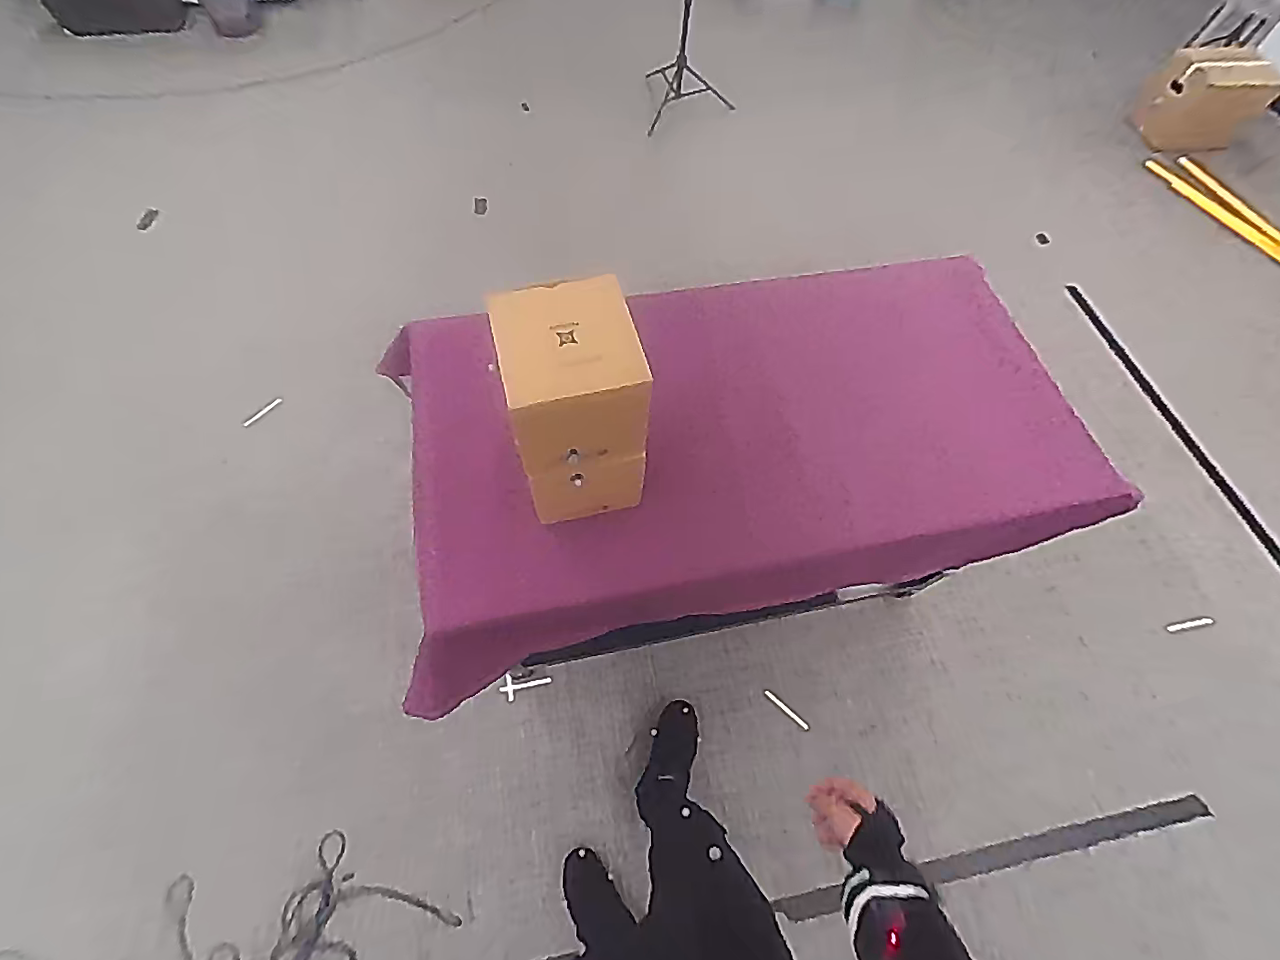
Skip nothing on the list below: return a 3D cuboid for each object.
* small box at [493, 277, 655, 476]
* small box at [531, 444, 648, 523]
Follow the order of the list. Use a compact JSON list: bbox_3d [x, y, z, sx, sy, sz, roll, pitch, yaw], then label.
[{"bbox_3d":[-0.086,-0.129,0.703,0.168,0.176,0.179,-12,65,-9],"label":"small box"},{"bbox_3d":[-0.090,-0.054,0.849,0.168,0.176,0.179,-11,64,-8],"label":"small box"}]
